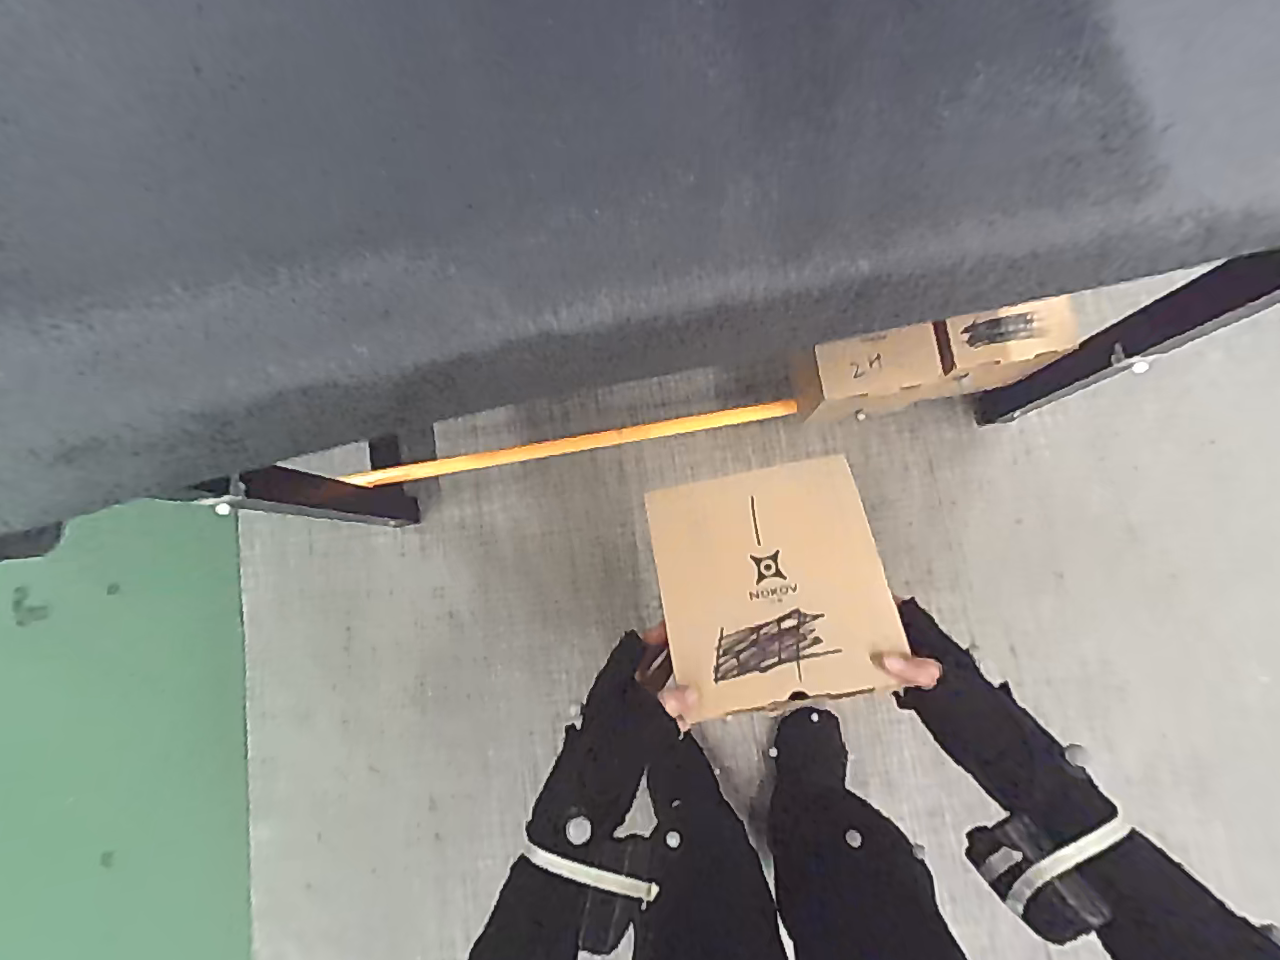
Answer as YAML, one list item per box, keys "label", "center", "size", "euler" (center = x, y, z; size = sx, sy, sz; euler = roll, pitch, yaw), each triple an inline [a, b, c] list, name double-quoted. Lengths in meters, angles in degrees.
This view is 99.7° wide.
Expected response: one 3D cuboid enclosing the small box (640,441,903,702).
- label: "small box"
  center: [0.102, 0.089, 0.479]
  size: [0.168, 0.176, 0.179]
  euler: [-11, 68, 4]
